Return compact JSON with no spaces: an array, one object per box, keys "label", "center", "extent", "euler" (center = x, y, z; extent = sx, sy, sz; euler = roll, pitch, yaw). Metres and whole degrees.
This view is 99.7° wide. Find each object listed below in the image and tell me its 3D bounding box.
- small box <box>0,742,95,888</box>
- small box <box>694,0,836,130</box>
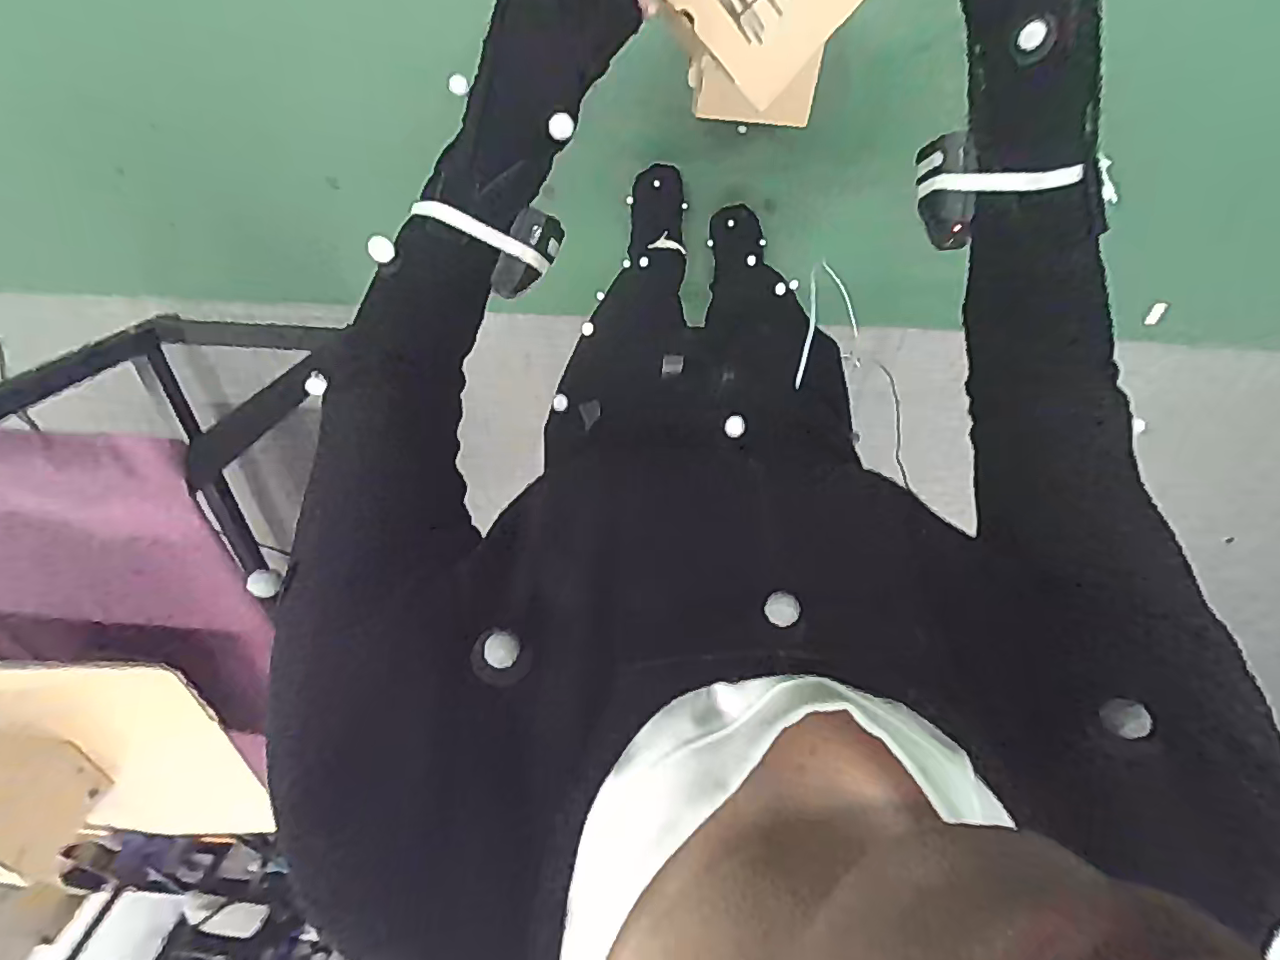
[{"label":"small box","center":[-1.107,0.567,0.925],"extent":[0.179,0.176,0.168],"euler":[3,126,2]},{"label":"small box","center":[0.185,-0.671,0.862],"extent":[0.179,0.176,0.168],"euler":[6,126,0]}]
